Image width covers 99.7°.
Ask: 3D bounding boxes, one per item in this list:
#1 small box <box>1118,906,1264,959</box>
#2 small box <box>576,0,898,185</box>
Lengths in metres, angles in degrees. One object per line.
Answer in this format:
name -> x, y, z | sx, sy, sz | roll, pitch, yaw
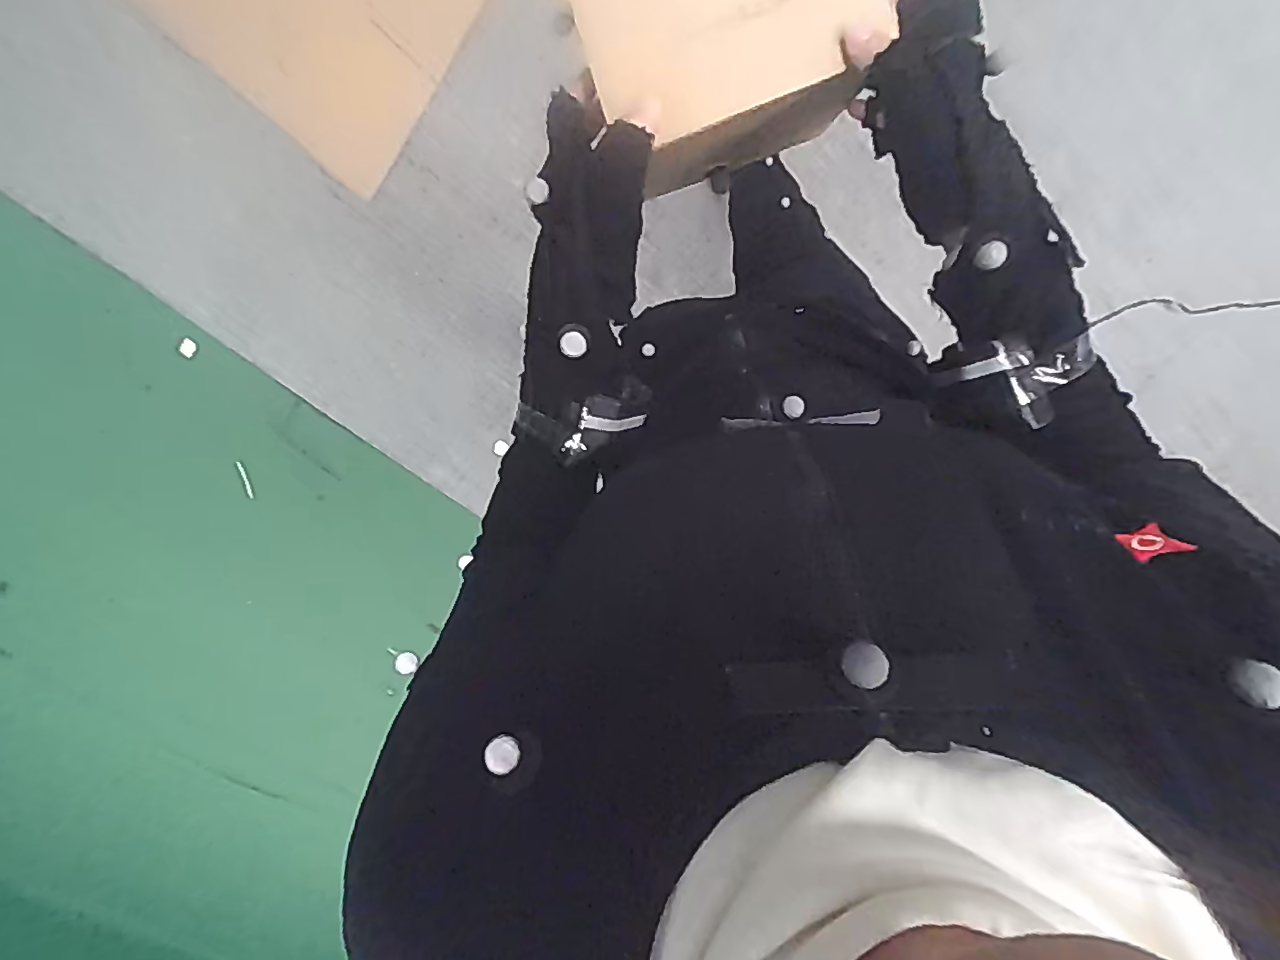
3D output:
small box -> 1.089, 0.956, 1.030 | 0.168, 0.176, 0.179 | 30, 116, -14
small box -> 0.042, -0.327, 0.358 | 0.168, 0.176, 0.179 | -17, 108, 9
